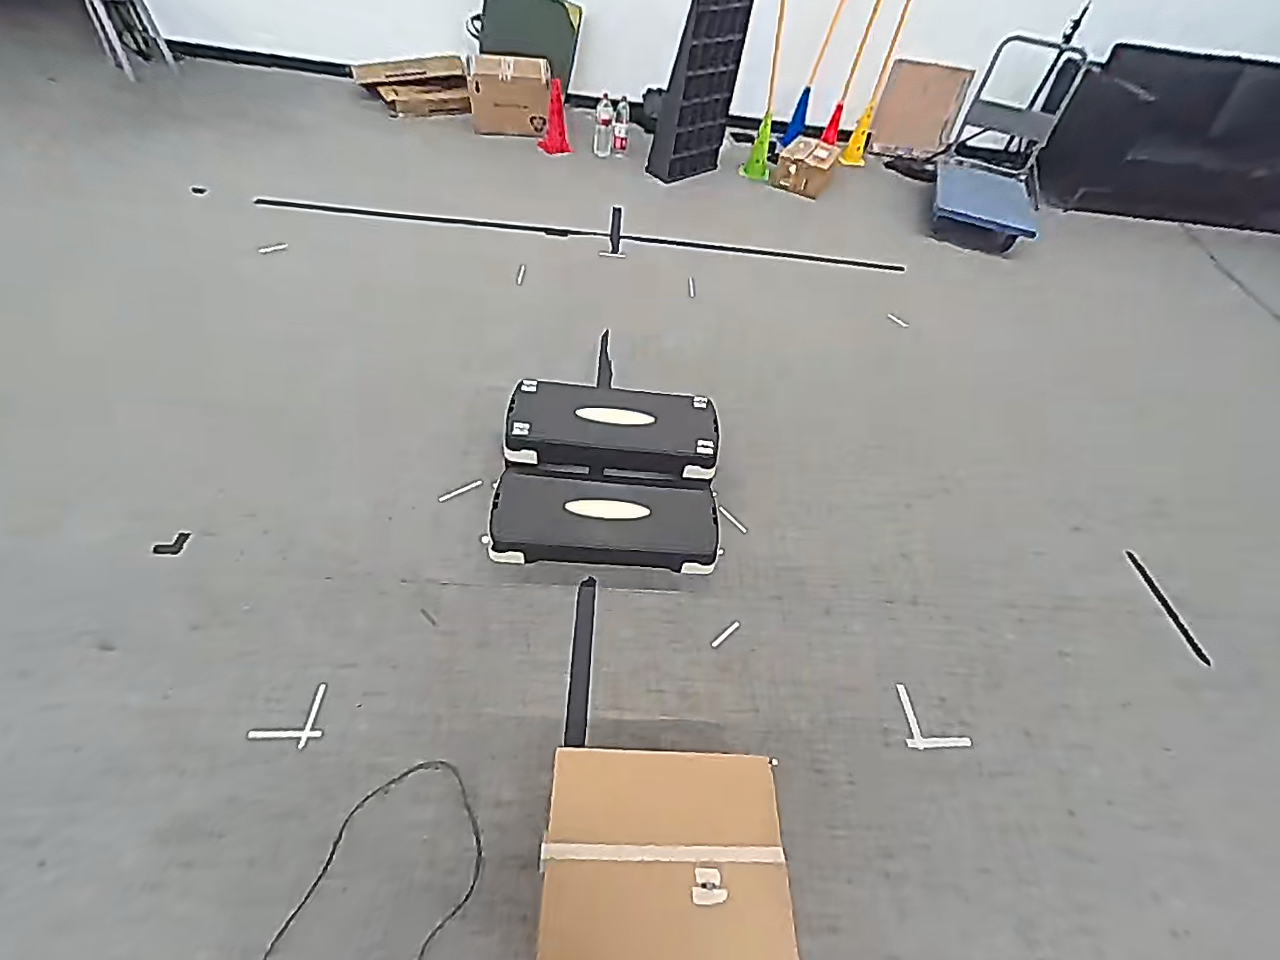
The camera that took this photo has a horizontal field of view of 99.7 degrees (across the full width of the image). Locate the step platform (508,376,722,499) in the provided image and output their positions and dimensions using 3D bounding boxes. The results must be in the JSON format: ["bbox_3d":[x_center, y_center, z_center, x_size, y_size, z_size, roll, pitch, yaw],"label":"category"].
[{"bbox_3d":[-0.077,-0.143,1.774,0.684,0.204,0.286,9,50,-2],"label":"step platform"}]

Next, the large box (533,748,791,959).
[{"bbox_3d":[0.016,0.714,1.014,0.408,0.320,0.320,5,51,-6],"label":"large box"}]
